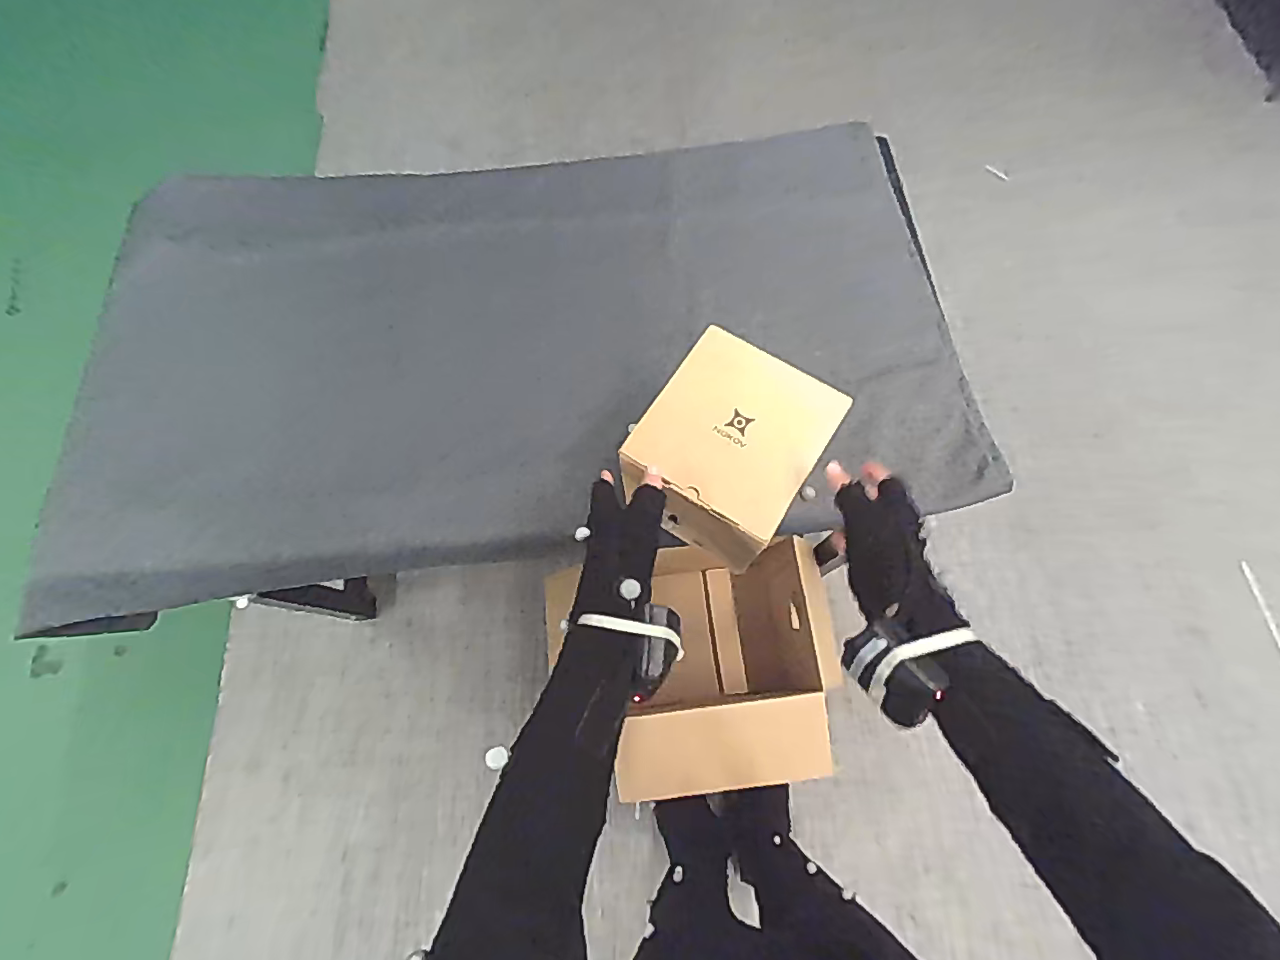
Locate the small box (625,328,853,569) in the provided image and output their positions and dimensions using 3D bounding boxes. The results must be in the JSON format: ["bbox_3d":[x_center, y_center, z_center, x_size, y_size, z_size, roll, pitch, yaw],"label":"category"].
[{"bbox_3d":[0.098,-0.024,0.600,0.168,0.176,0.179,32,75,12],"label":"small box"}]
